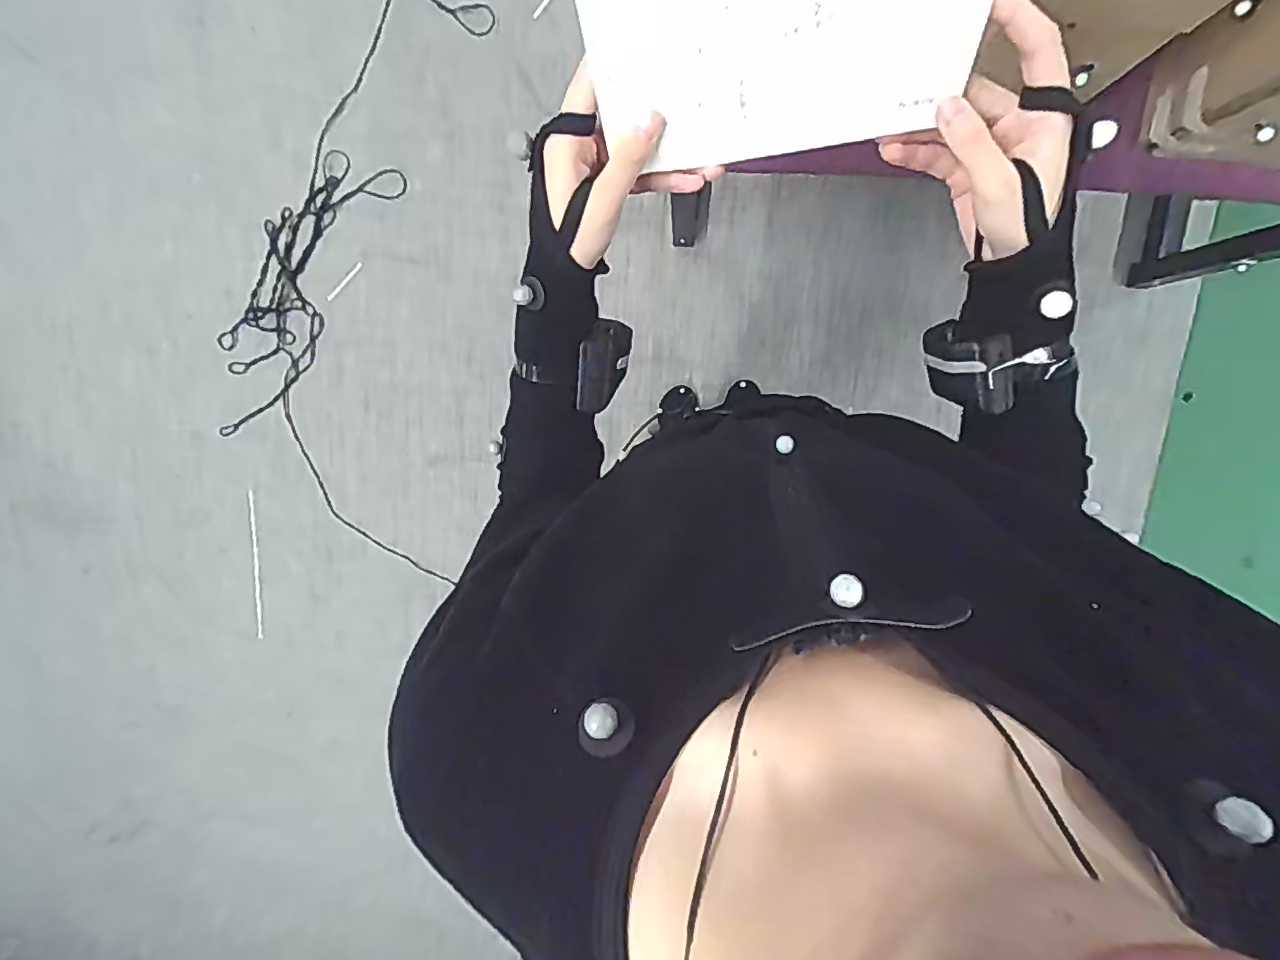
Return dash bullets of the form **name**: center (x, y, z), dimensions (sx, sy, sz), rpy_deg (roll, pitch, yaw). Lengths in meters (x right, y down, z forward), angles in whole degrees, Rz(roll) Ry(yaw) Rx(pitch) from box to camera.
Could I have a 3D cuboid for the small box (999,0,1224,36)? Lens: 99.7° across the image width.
- **small box**: center (0.432, -0.495, 0.424), dimensions (0.179, 0.176, 0.168), rpy_deg (7, 98, 3)
